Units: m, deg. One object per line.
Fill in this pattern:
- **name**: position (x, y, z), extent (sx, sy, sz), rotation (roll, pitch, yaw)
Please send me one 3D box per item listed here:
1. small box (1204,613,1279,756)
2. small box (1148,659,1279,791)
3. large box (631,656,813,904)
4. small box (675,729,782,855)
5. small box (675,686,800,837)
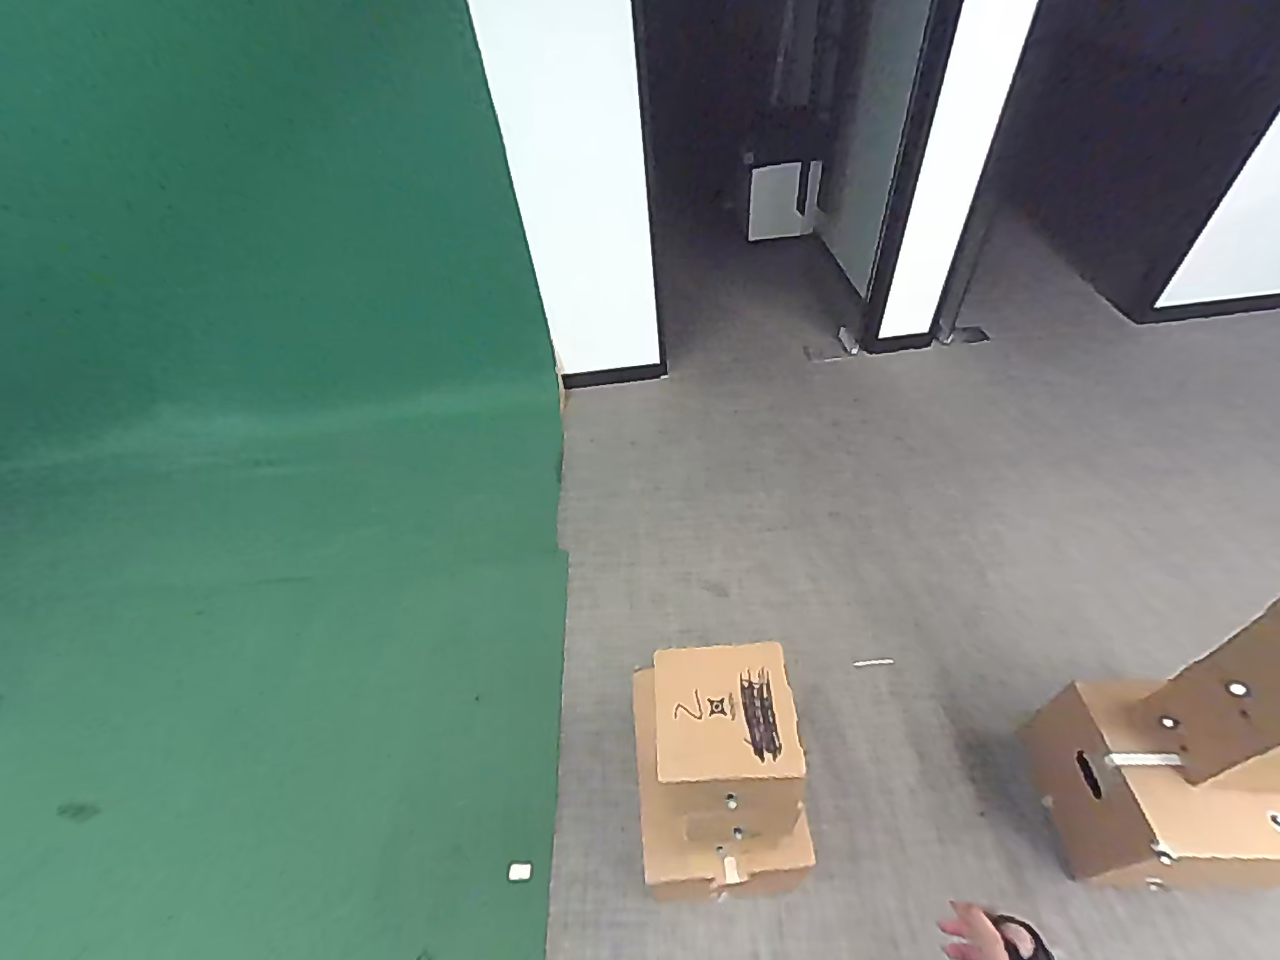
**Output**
- **small box**: position (1.075, 0.328, 0.849), extent (0.179, 0.176, 0.168), rotation (1, 45, 9)
- **small box**: position (1.088, 0.440, 0.968), extent (0.179, 0.176, 0.168), rotation (0, 45, 8)
- **large box**: position (0.163, 0.668, 1.214), extent (0.320, 0.320, 0.408), rotation (-7, 45, 1)
- **small box**: position (0.156, 0.563, 0.978), extent (0.168, 0.176, 0.179), rotation (-6, 45, 3)
- **small box**: position (0.147, 0.451, 0.858), extent (0.168, 0.176, 0.179), rotation (-5, 46, 3)
